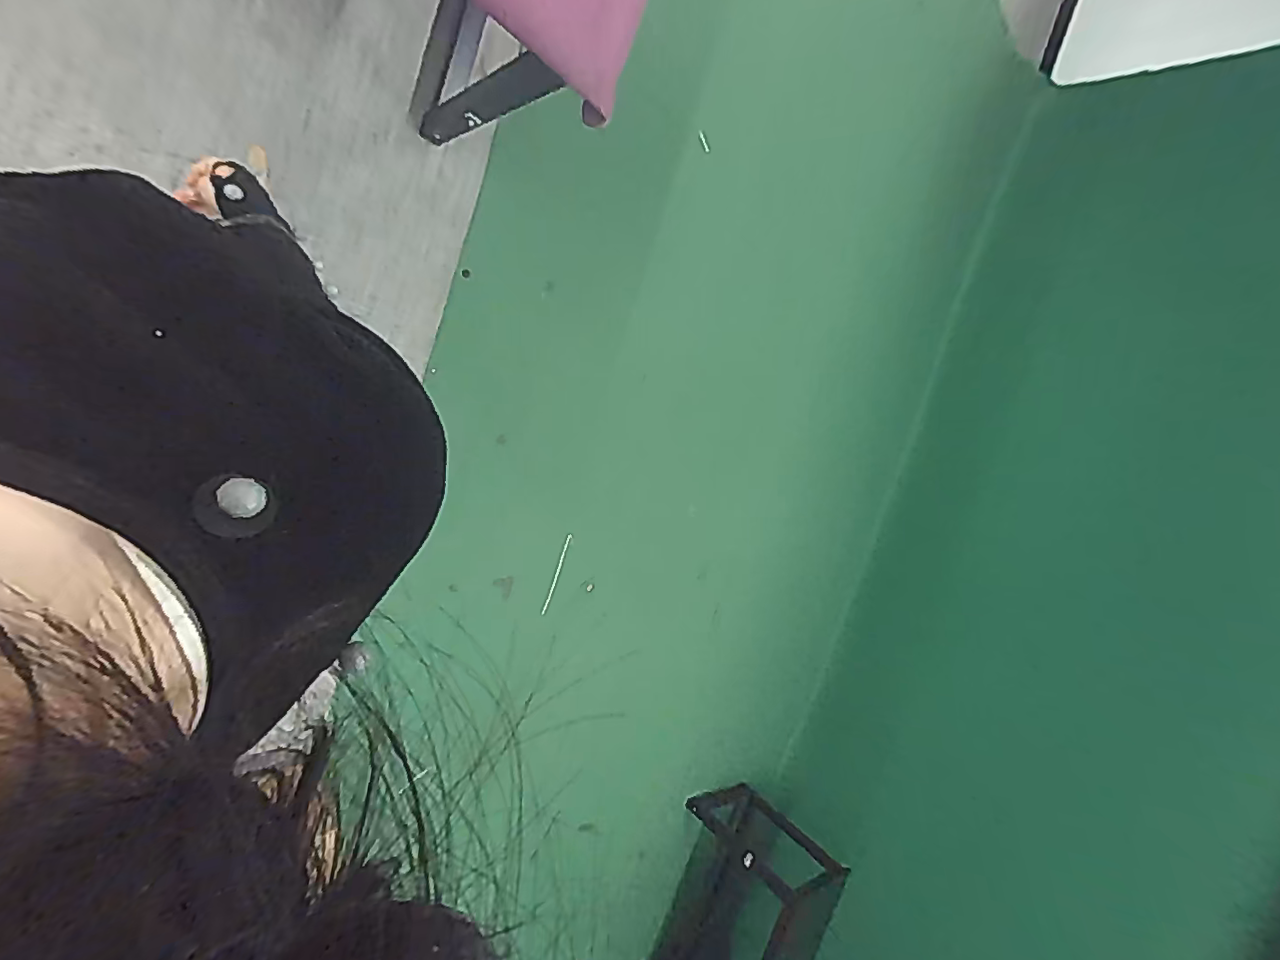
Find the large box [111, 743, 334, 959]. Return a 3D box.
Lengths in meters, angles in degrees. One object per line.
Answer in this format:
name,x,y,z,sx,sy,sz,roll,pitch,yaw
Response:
large box,-1.044,0.959,1.372,0.408,0.320,0.320,-6,111,-43
